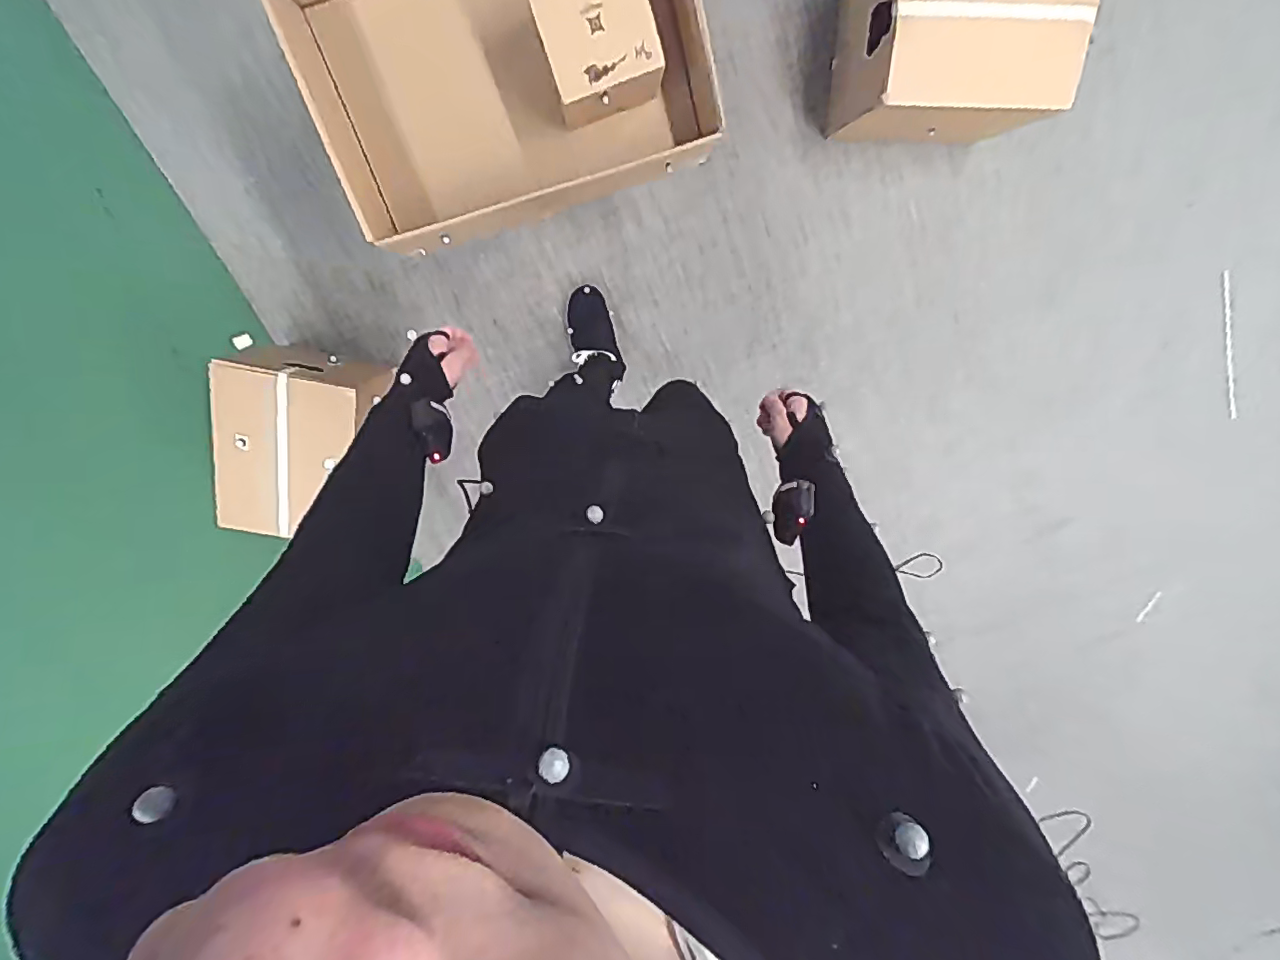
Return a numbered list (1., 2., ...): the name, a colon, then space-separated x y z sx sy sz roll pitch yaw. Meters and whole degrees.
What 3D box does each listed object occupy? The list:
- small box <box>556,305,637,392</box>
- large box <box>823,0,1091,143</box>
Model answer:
1. small box: -0.117 -0.359 1.461 0.168 0.176 0.179 20 105 -8
2. large box: 0.669 -0.948 1.190 0.408 0.320 0.320 -1 110 -3
